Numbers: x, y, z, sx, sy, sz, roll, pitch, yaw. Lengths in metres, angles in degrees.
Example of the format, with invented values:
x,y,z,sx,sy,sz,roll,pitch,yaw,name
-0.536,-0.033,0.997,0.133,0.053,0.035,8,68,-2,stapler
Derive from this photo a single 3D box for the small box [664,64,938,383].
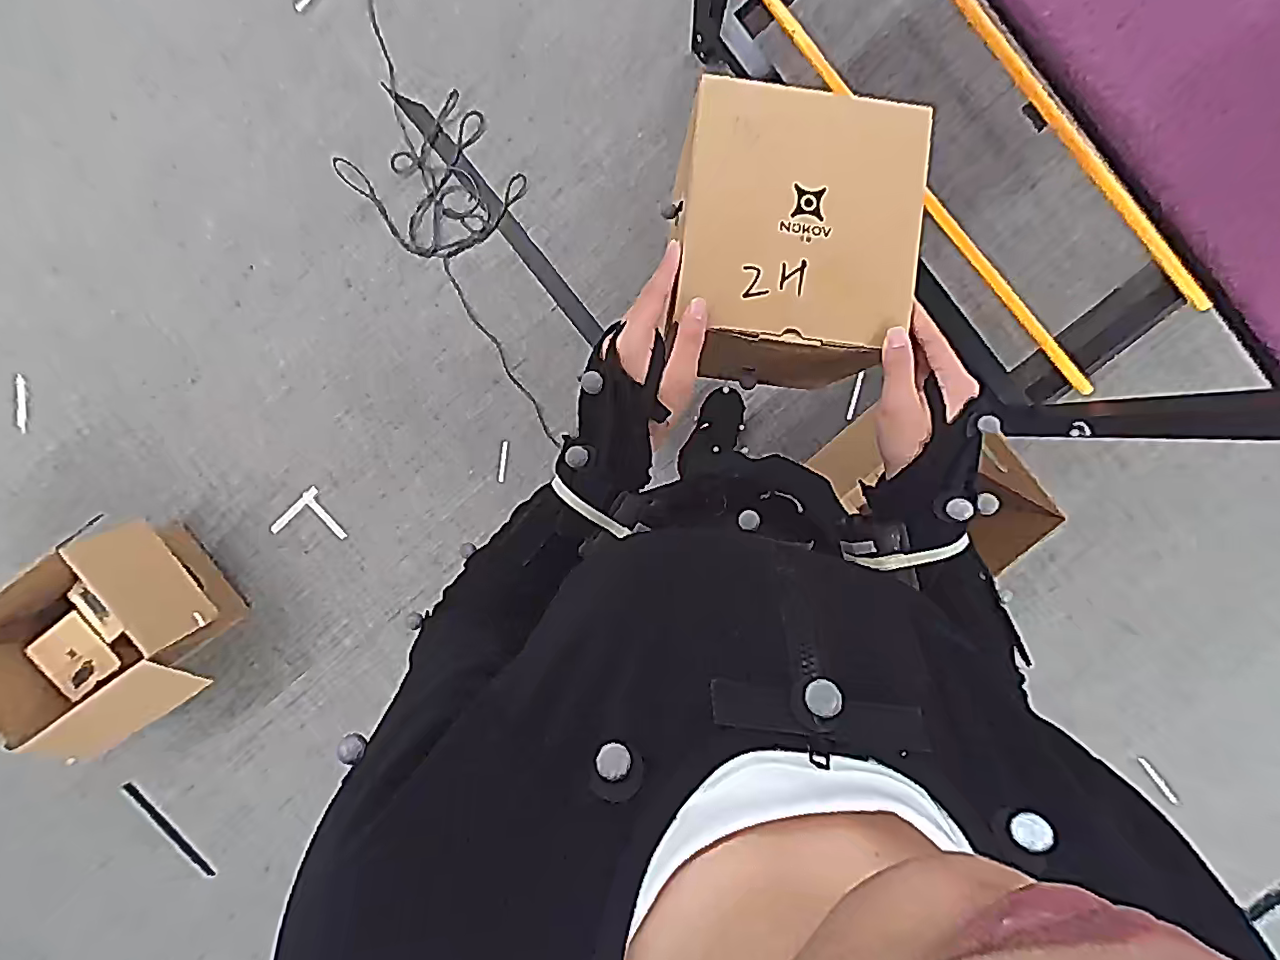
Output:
x,y,z,sx,sy,sz,roll,pitch,yaw,name
0.113,-0.189,0.451,0.168,0.176,0.179,6,91,-3,small box
